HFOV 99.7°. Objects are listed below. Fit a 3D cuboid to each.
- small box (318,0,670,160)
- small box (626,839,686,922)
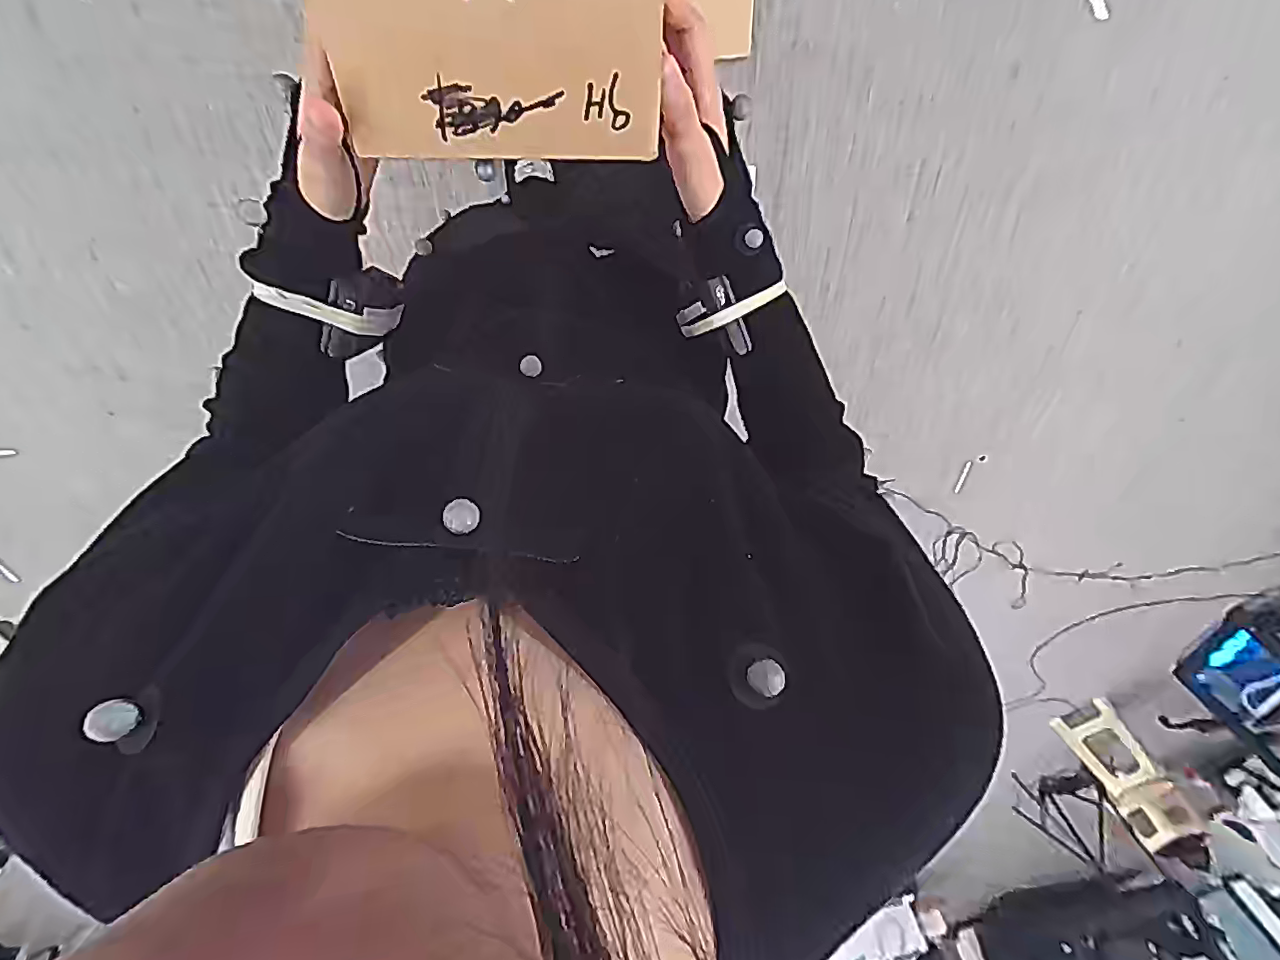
[{"bbox_3d":[-0.070,-0.291,0.301,0.168,0.176,0.179,-1,129,-2],"label":"small box"},{"bbox_3d":[0.047,1.285,1.738,0.168,0.176,0.179,-4,128,-6],"label":"small box"}]
